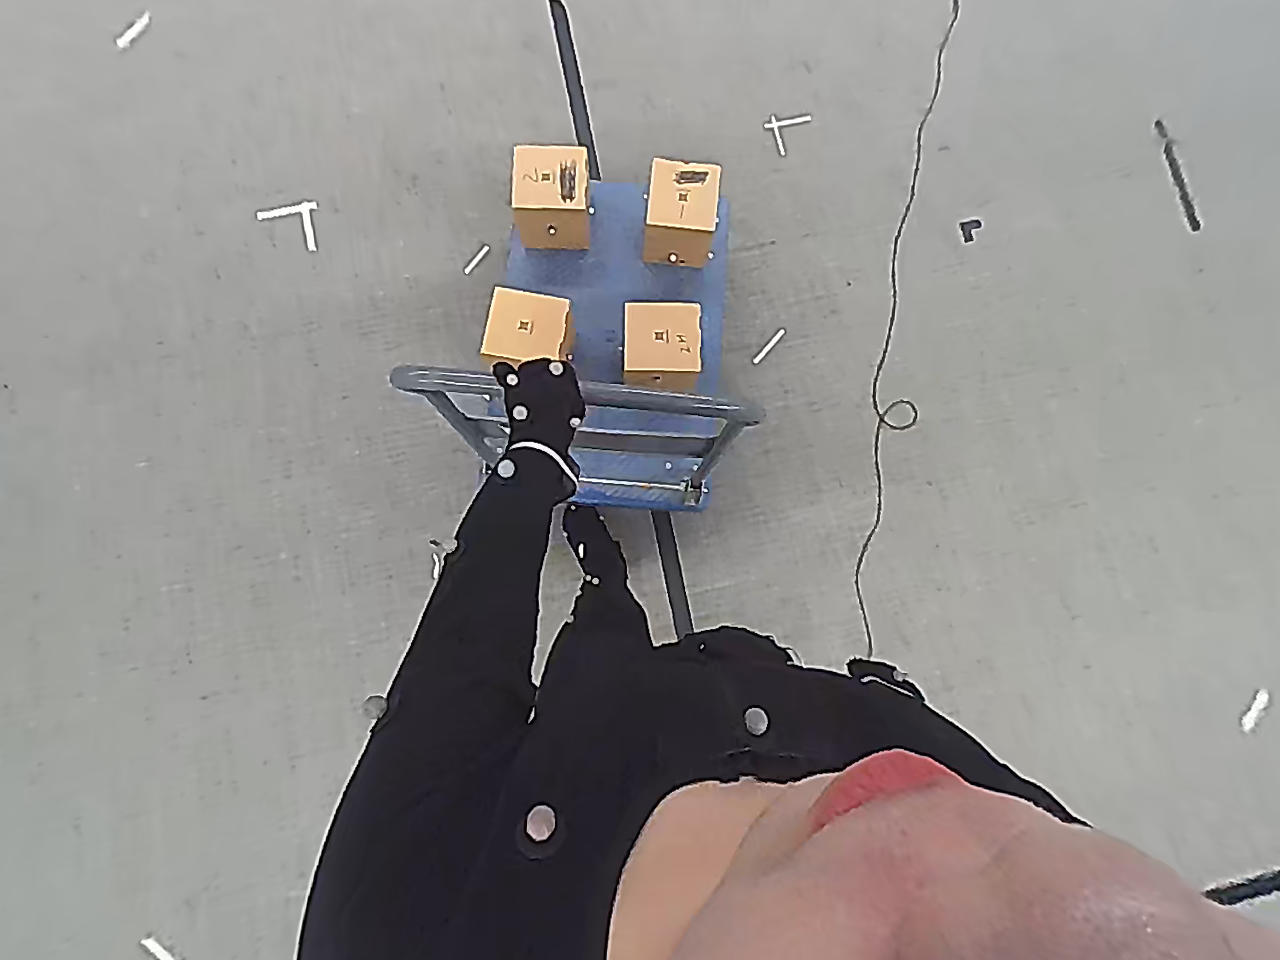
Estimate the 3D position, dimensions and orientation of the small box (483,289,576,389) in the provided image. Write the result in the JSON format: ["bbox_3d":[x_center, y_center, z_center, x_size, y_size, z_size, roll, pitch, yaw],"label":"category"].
[{"bbox_3d":[-0.257,-0.332,1.299,0.179,0.176,0.168,9,80,-2],"label":"small box"}]

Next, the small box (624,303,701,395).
[{"bbox_3d":[0.052,-0.310,1.304,0.179,0.176,0.168,1,81,-1],"label":"small box"}]

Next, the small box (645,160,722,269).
[{"bbox_3d":[0.104,-0.662,1.362,0.168,0.176,0.179,6,82,-1],"label":"small box"}]
